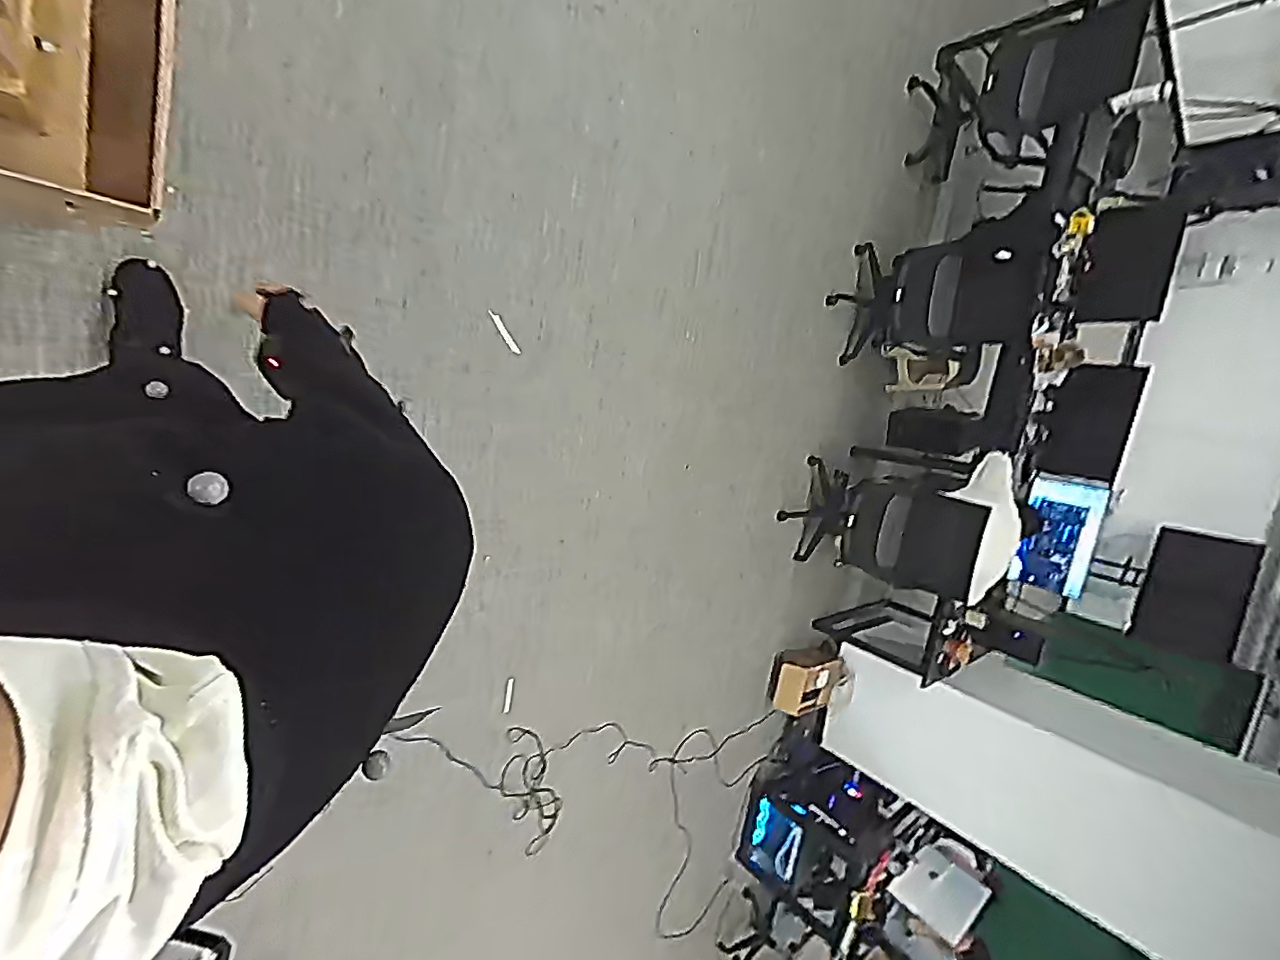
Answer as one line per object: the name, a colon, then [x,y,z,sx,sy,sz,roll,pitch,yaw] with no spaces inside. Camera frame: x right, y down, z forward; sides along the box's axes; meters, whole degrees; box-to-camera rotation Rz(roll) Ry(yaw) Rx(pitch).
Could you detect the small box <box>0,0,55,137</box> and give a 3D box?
small box: [-0.846,-0.561,0.654,0.168,0.176,0.179,6,98,-41]
